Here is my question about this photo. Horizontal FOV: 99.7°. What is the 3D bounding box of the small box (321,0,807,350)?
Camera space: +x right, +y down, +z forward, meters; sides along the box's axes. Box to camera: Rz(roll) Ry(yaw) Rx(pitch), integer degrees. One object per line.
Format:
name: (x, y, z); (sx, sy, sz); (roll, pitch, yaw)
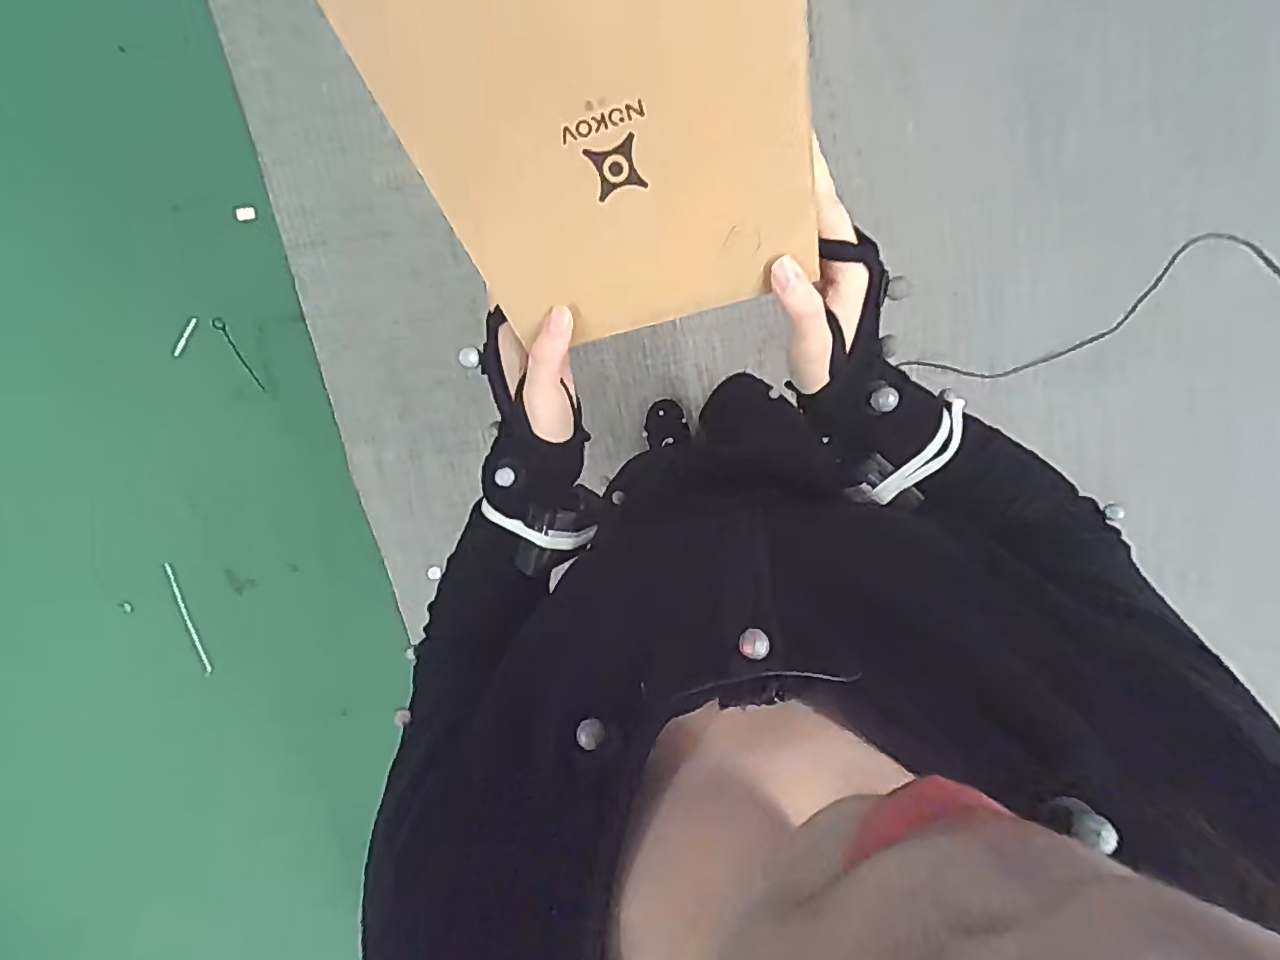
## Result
small box: (-0.013, -0.203, 0.285); (0.168, 0.176, 0.179); (-11, 141, 13)
